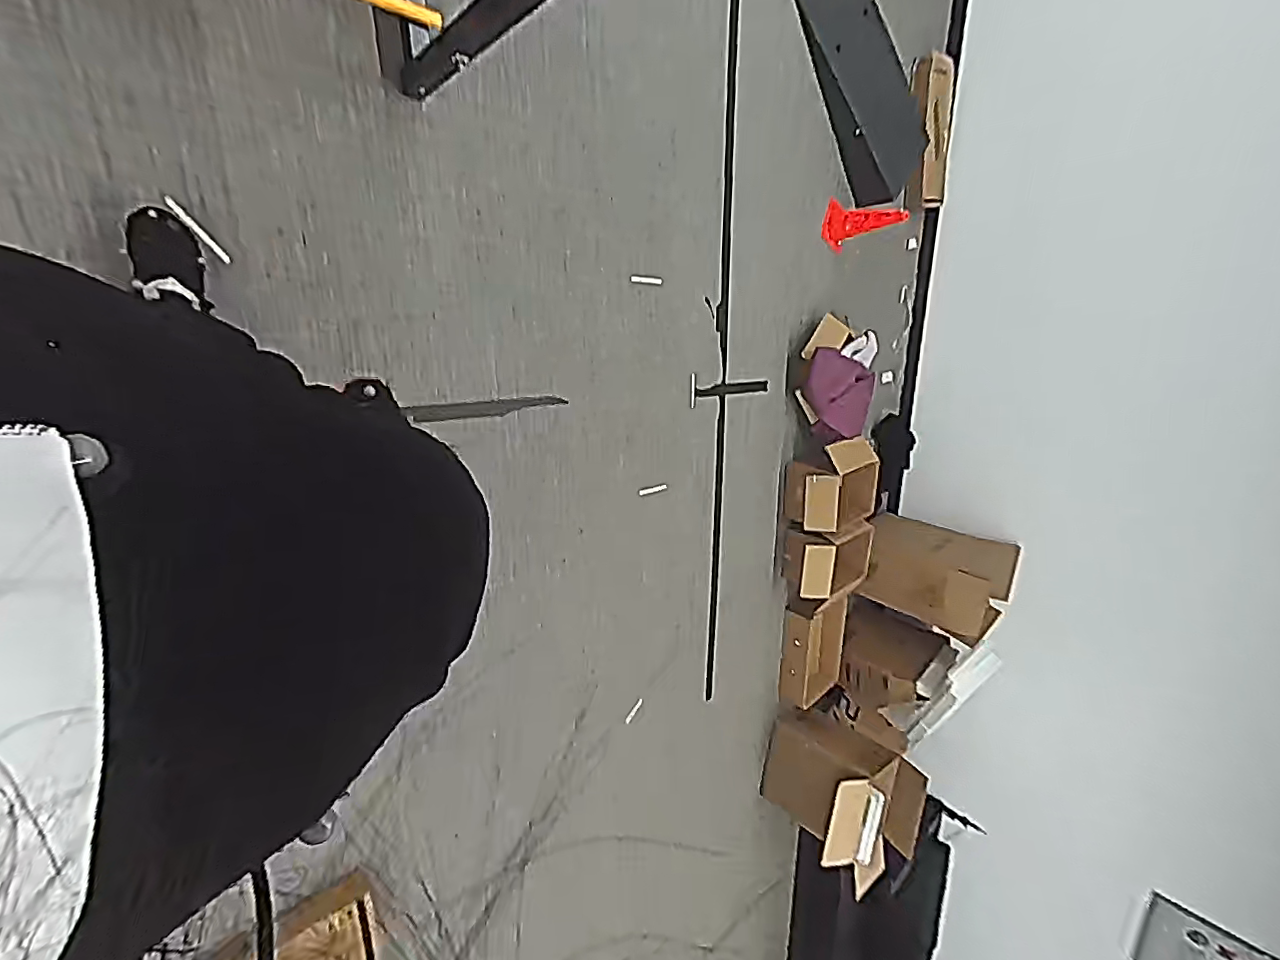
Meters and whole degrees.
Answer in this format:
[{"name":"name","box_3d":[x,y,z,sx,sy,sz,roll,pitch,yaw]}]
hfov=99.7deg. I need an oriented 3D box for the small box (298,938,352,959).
[{"name":"small box","box_3d":[-0.865,1.401,1.460,0.168,0.176,0.179,-12,109,-41]}]
